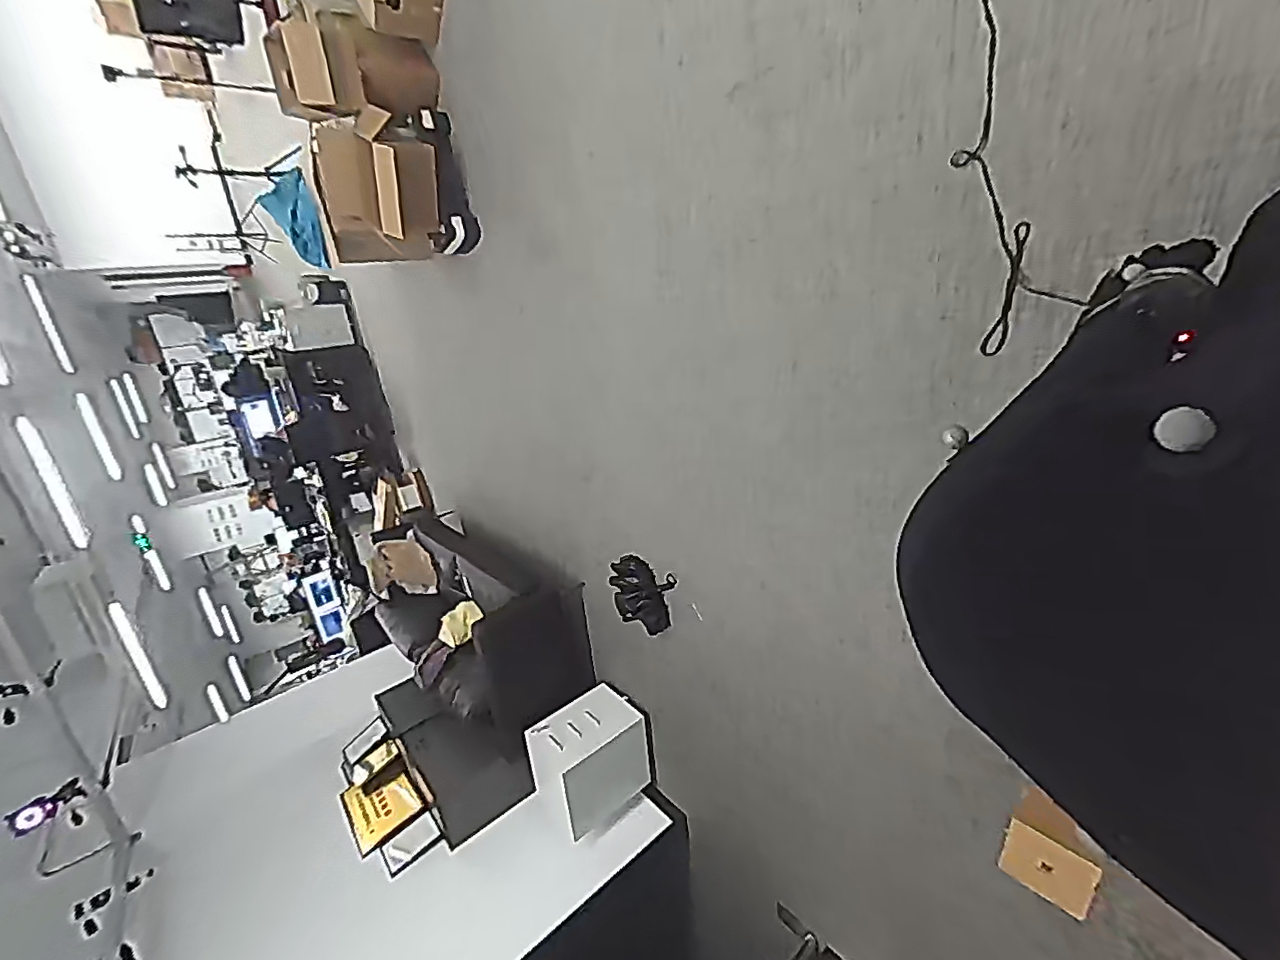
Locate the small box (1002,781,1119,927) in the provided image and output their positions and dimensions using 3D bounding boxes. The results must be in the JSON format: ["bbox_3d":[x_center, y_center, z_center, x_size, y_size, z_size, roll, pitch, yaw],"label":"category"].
[{"bbox_3d":[0.965,0.847,1.241,0.168,0.176,0.179,19,120,45],"label":"small box"}]
